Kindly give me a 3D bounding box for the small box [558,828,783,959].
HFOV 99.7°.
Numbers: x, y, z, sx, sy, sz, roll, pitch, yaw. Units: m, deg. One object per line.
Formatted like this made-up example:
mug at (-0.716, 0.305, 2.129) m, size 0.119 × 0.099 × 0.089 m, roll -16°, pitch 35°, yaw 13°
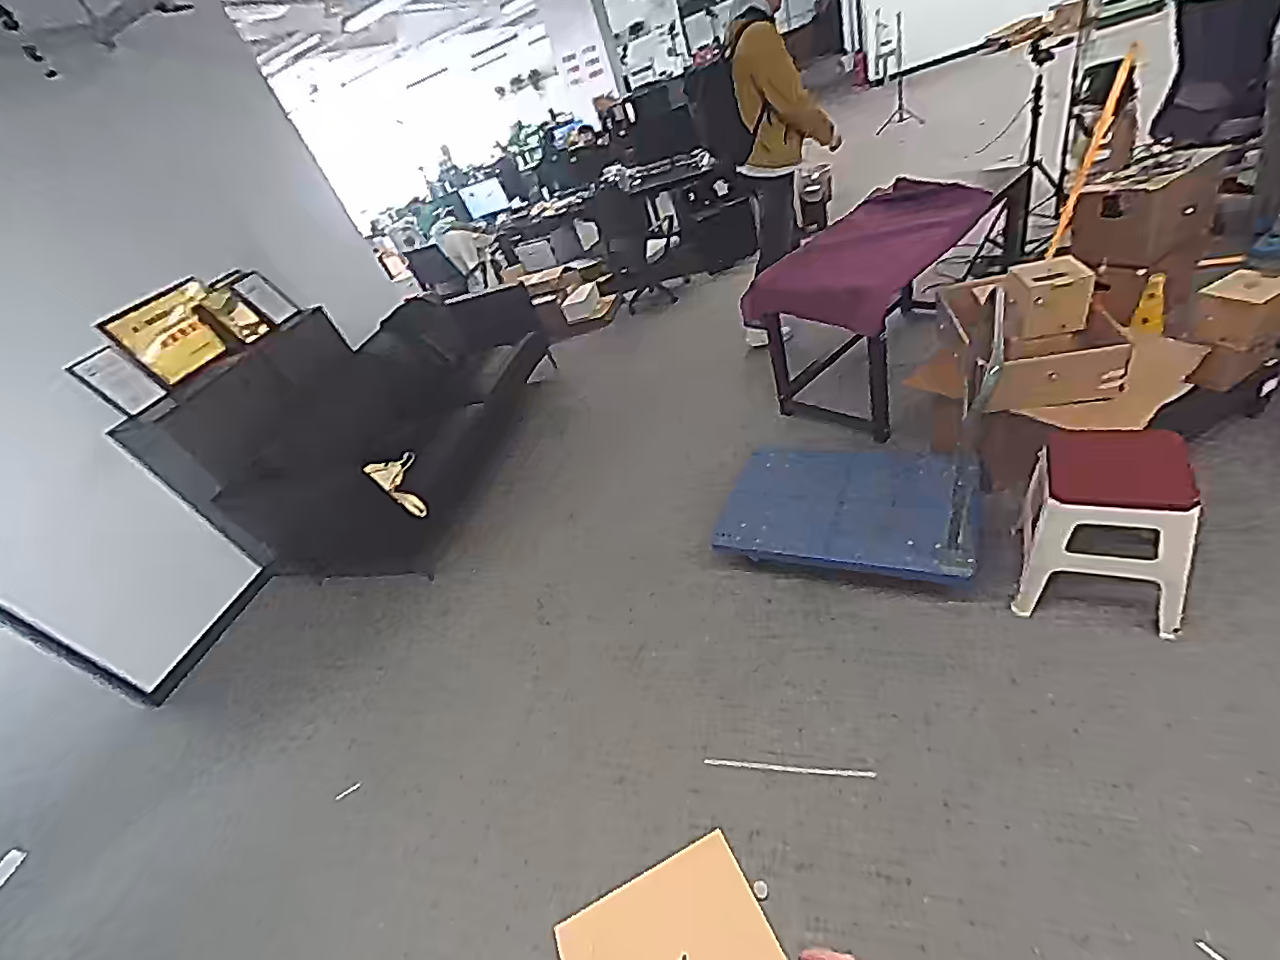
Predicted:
small box at (0.046, 0.458, 0.466) m, size 0.168 × 0.176 × 0.179 m, roll -22°, pitch 35°, yaw -11°
